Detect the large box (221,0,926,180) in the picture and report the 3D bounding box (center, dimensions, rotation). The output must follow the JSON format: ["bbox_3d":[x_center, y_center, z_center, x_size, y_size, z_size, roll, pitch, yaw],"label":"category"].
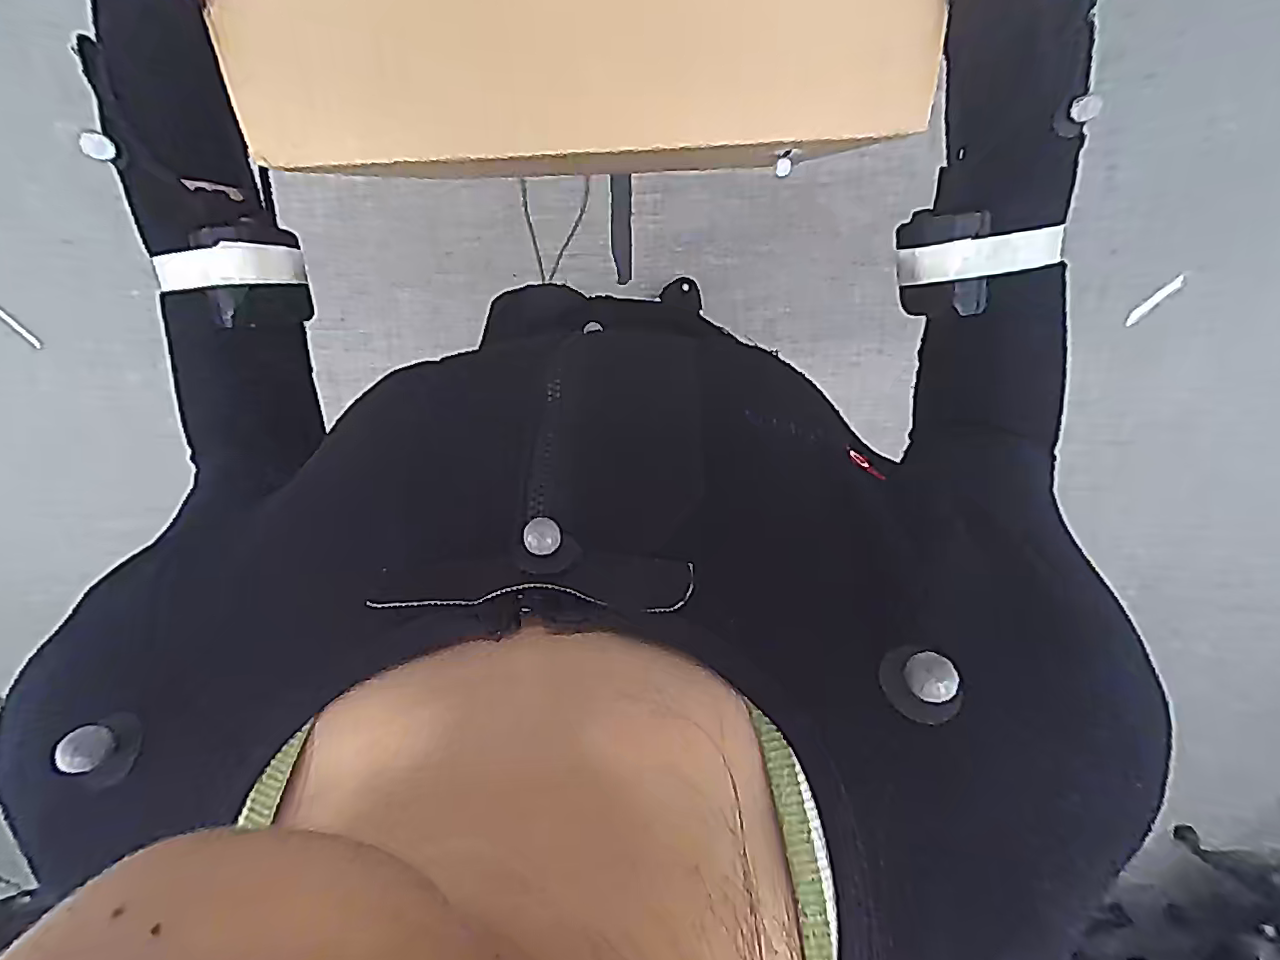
[{"bbox_3d":[-0.039,-0.410,0.398,0.408,0.320,0.320,-2,117,3],"label":"large box"}]
